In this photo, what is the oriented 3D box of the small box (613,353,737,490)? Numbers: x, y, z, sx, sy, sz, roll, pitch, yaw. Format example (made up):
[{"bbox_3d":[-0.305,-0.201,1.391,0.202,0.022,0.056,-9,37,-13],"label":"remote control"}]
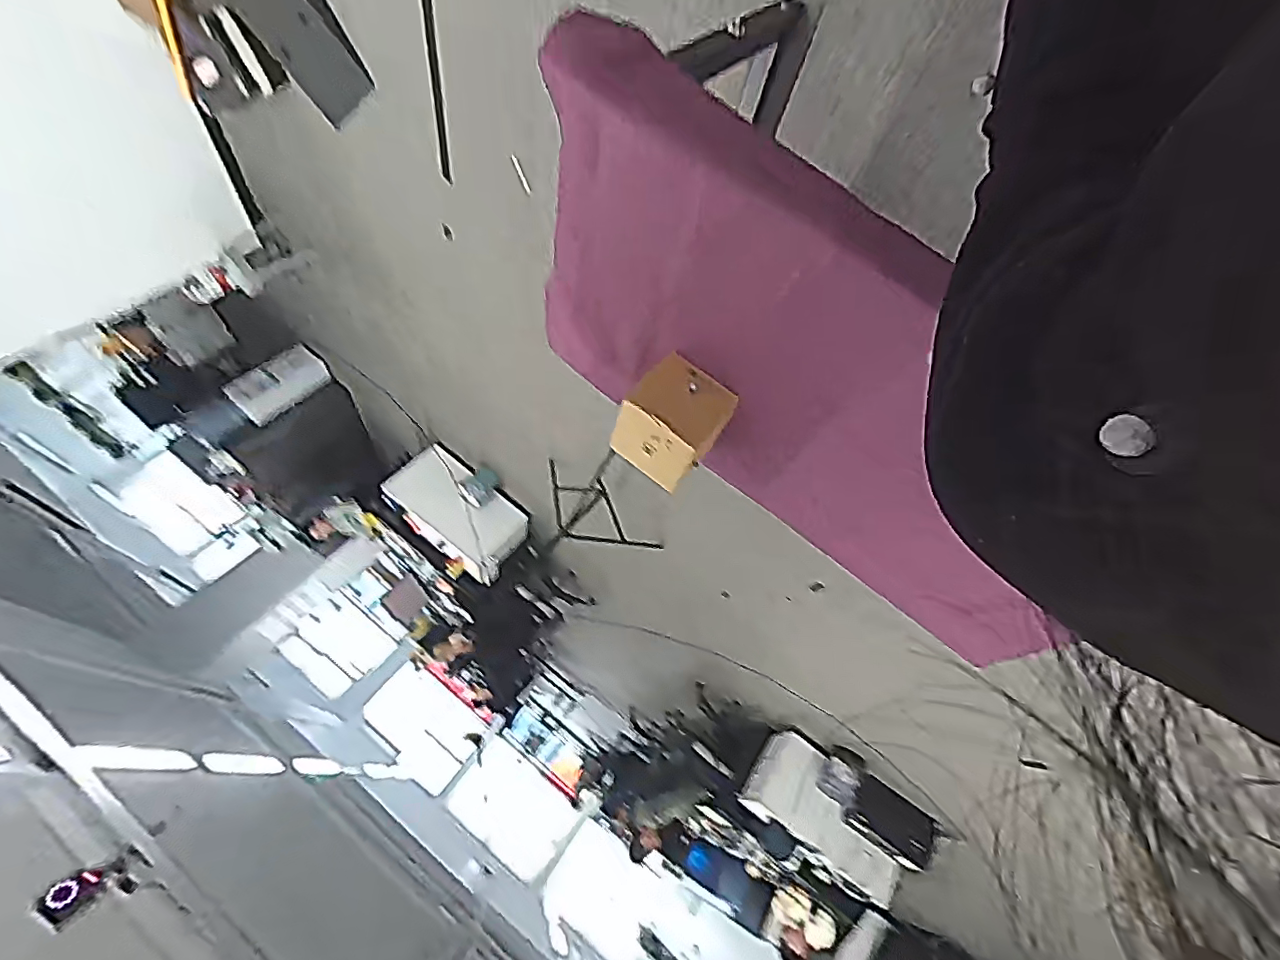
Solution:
[{"bbox_3d":[0.070,-0.118,1.093,0.168,0.176,0.179,37,149,8],"label":"small box"}]
